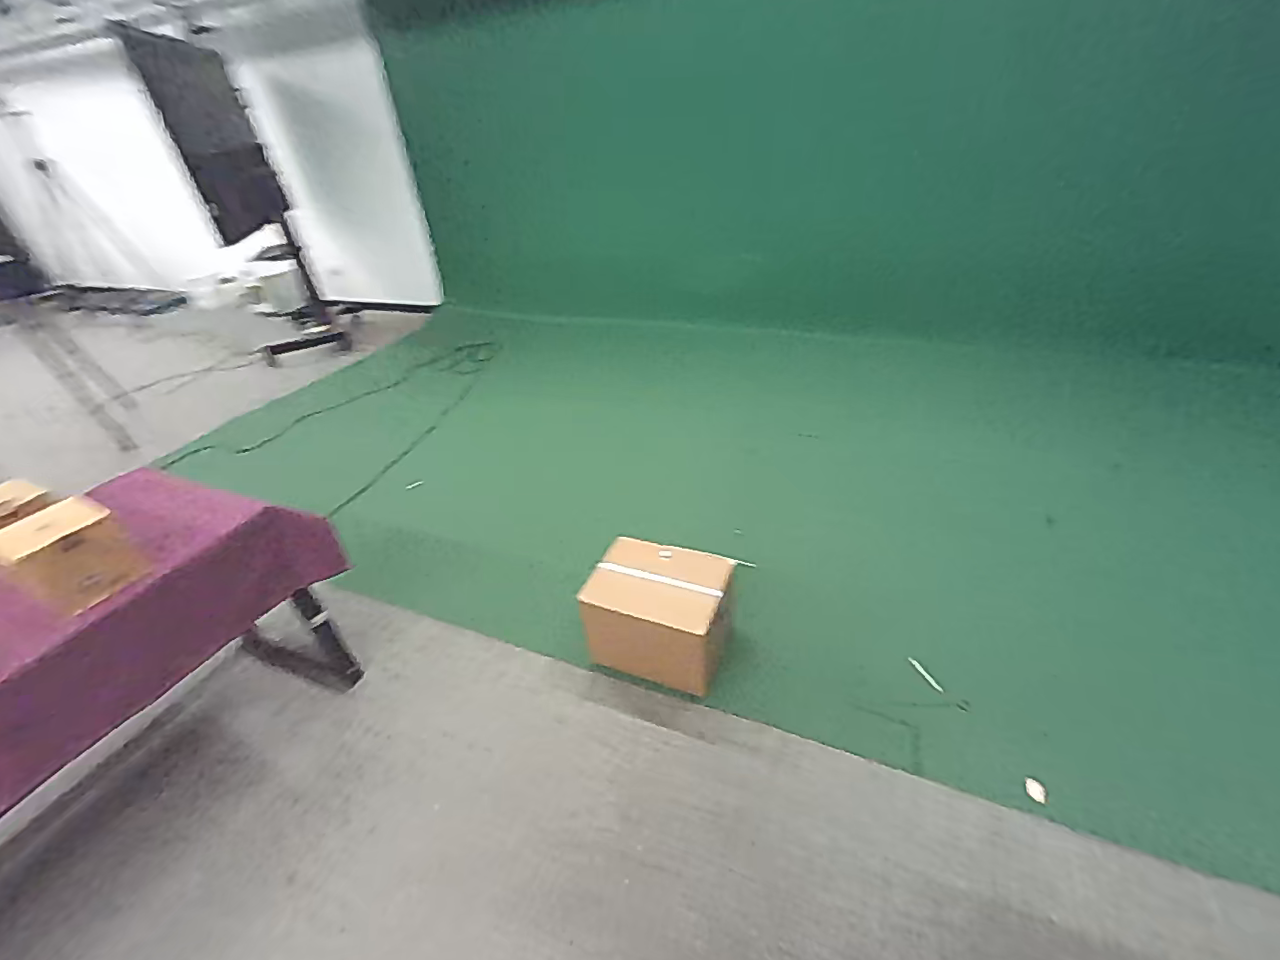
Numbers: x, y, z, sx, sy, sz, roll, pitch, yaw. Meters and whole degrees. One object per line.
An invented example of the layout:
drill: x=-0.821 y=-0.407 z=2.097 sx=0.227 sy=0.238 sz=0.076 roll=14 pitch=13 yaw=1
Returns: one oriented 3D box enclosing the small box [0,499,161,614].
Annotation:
small box: x=-1.232 y=0.169 z=1.198 sx=0.179 sy=0.176 sz=0.168 roll=14 pitch=39 yaw=25
